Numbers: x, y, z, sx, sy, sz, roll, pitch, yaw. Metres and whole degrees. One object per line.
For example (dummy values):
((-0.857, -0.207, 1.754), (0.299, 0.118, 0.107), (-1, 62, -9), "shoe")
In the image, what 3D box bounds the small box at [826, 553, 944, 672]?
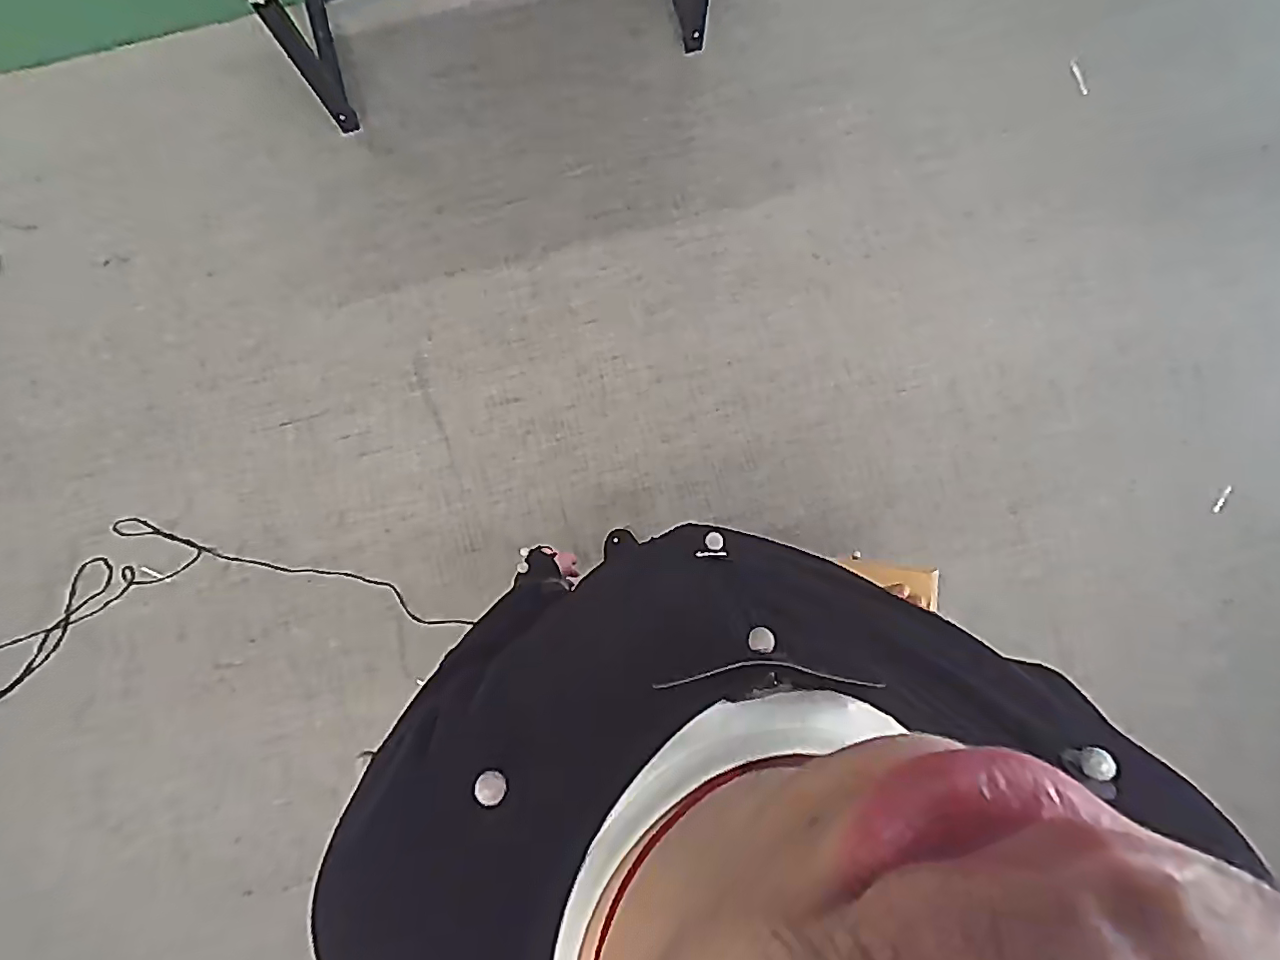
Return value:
((0.429, 0.220, 0.947), (0.176, 0.179, 0.168), (-1, 89, 32), "small box")
